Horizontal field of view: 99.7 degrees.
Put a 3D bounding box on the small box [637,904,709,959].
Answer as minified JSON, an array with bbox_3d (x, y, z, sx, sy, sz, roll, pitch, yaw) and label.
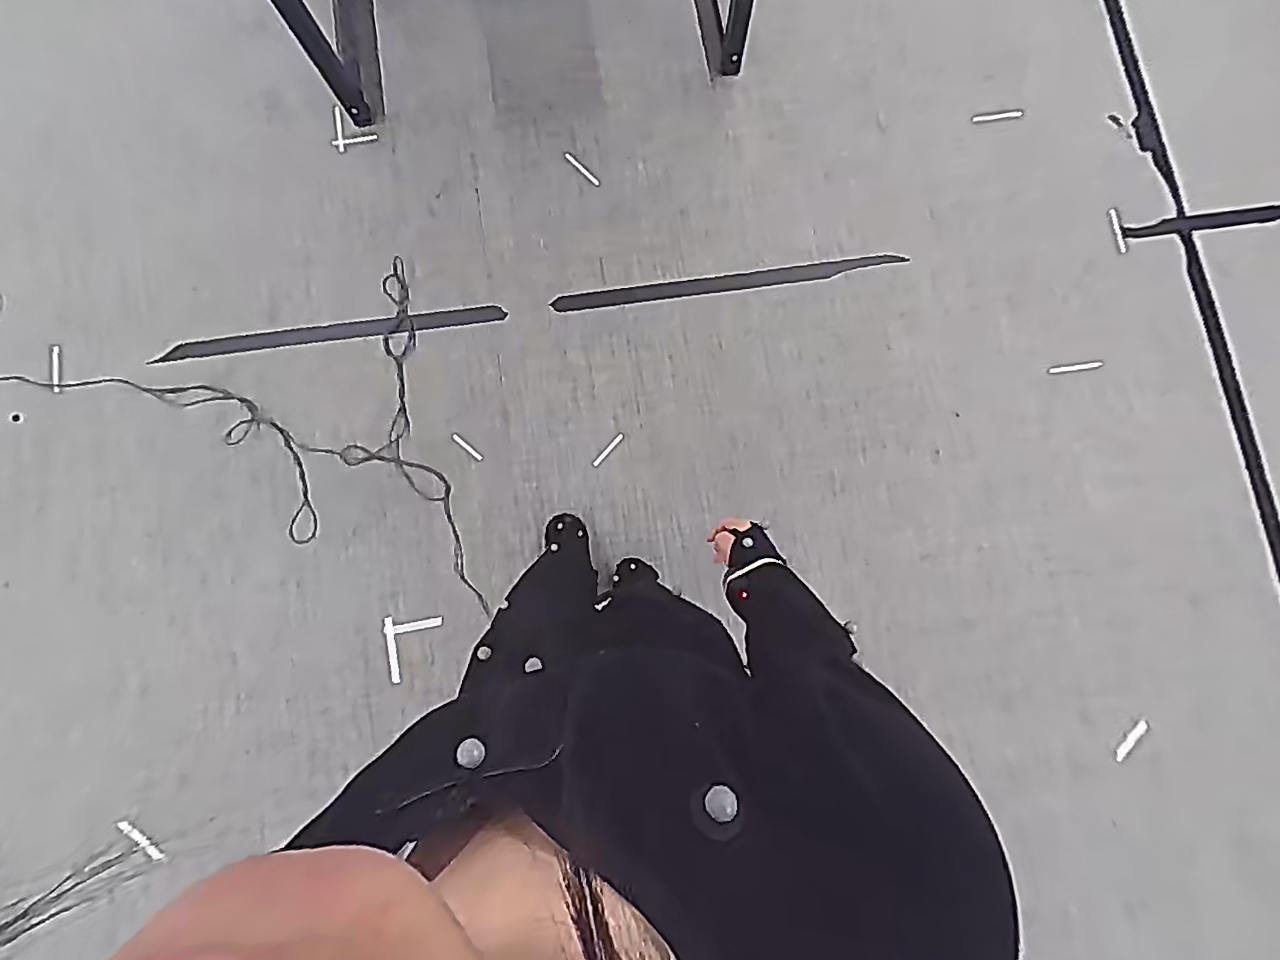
[{"bbox_3d":[0.082,1.163,1.300,0.168,0.176,0.179,-7,83,-1],"label":"small box"}]

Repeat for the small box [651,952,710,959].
[{"bbox_3d":[0.079,1.147,1.134,0.179,0.176,0.168,-8,84,-1],"label":"small box"}]
